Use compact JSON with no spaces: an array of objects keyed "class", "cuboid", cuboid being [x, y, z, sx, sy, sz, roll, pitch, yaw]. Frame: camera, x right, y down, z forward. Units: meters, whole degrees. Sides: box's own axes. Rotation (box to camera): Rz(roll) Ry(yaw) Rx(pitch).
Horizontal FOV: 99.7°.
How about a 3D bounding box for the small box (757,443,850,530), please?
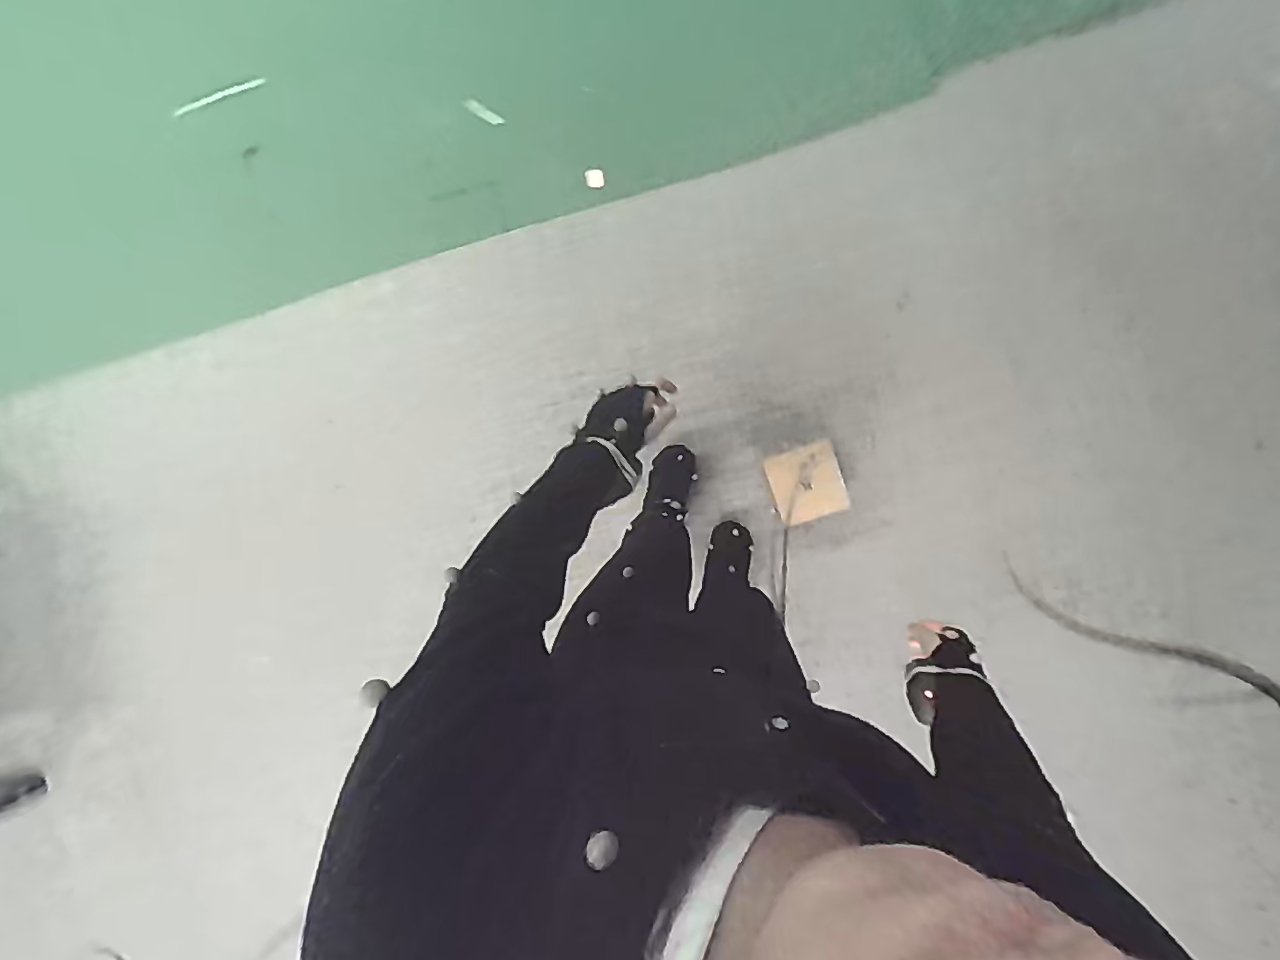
[{"class":"small box","cuboid":[0.405,0.013,1.365,0.168,0.176,0.179,-18,89,6]}]
